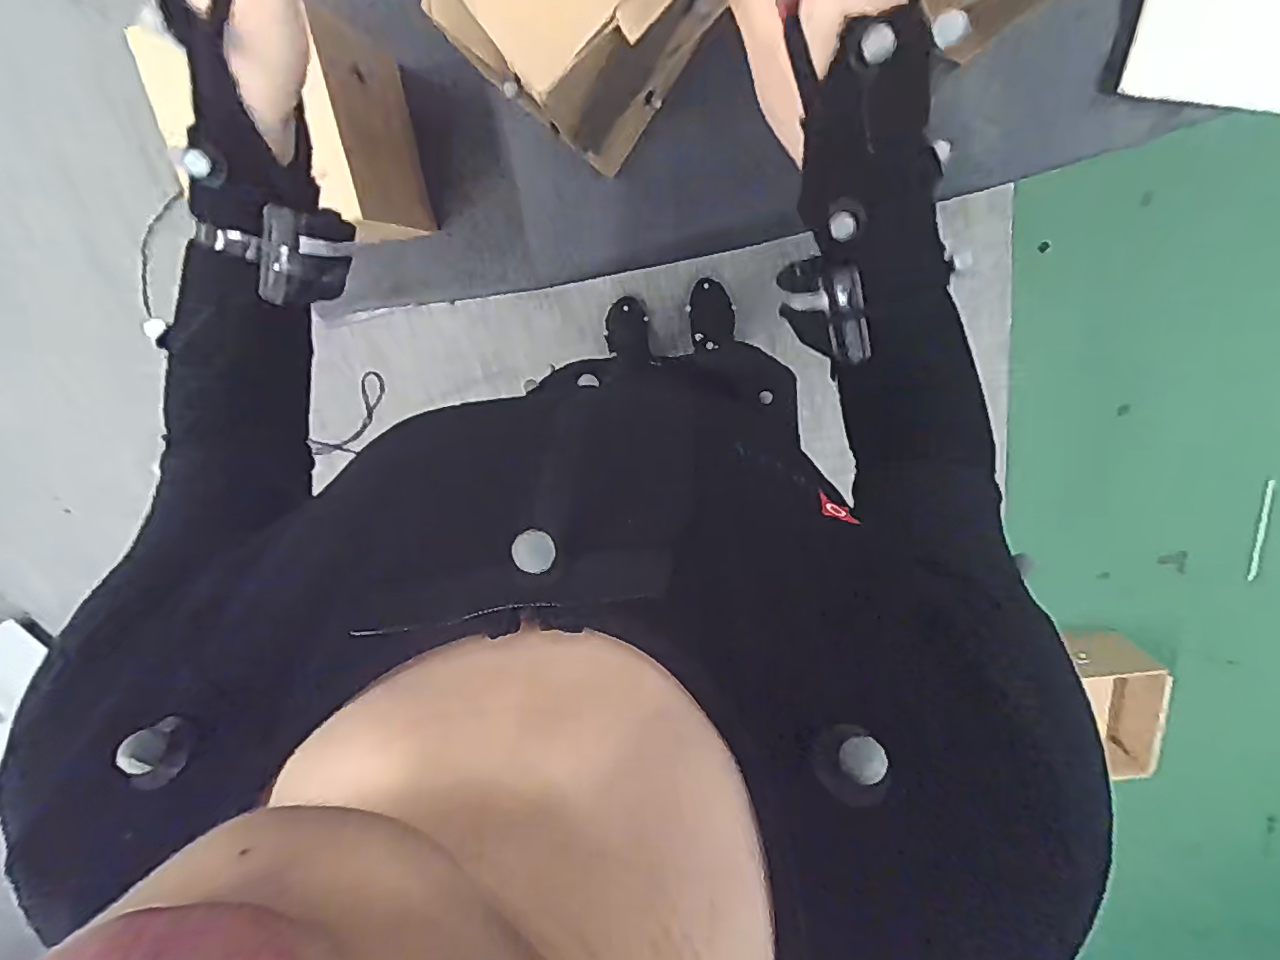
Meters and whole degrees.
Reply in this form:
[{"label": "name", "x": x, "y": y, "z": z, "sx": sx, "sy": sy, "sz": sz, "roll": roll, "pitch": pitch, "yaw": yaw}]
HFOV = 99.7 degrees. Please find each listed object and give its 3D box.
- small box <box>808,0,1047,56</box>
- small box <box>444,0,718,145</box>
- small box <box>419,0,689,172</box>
[{"label": "small box", "x": 0.268, "y": -0.500, "z": 0.457, "sx": 0.179, "sy": 0.176, "sz": 0.168, "roll": 17, "pitch": 111, "yaw": -2}, {"label": "small box", "x": -0.053, "y": -0.358, "z": 0.357, "sx": 0.168, "sy": 0.176, "sz": 0.179, "roll": -40, "pitch": 103, "yaw": 15}, {"label": "small box", "x": -0.062, "y": -0.422, "z": 0.508, "sx": 0.179, "sy": 0.176, "sz": 0.168, "roll": 35, "pitch": 108, "yaw": -10}]
